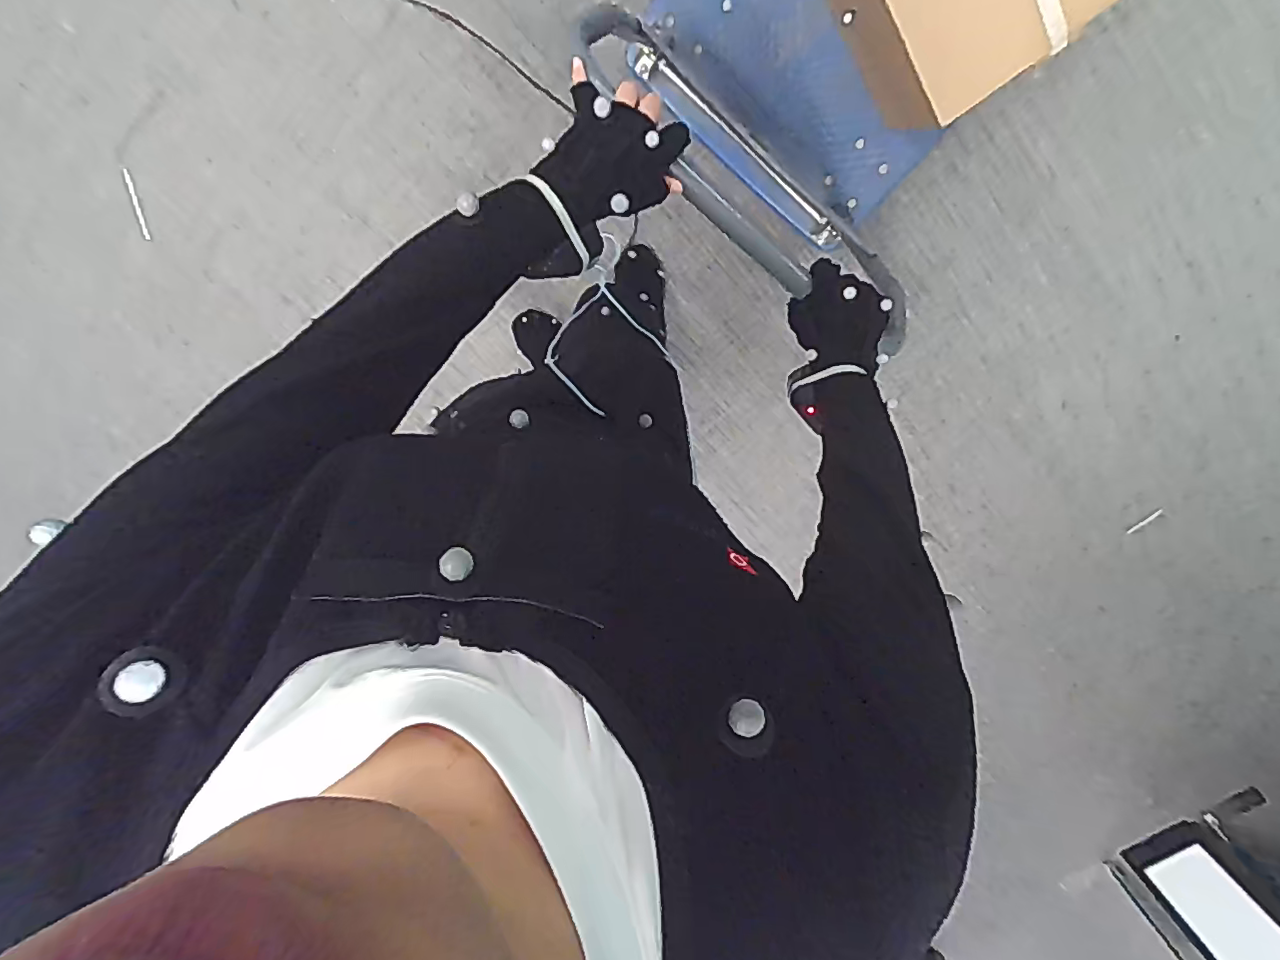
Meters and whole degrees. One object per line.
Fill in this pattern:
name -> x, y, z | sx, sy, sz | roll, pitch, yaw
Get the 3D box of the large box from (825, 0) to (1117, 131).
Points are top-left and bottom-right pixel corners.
large box -> 0.459, -0.806, 0.795 | 0.320, 0.320, 0.408 | -31, 114, 24
